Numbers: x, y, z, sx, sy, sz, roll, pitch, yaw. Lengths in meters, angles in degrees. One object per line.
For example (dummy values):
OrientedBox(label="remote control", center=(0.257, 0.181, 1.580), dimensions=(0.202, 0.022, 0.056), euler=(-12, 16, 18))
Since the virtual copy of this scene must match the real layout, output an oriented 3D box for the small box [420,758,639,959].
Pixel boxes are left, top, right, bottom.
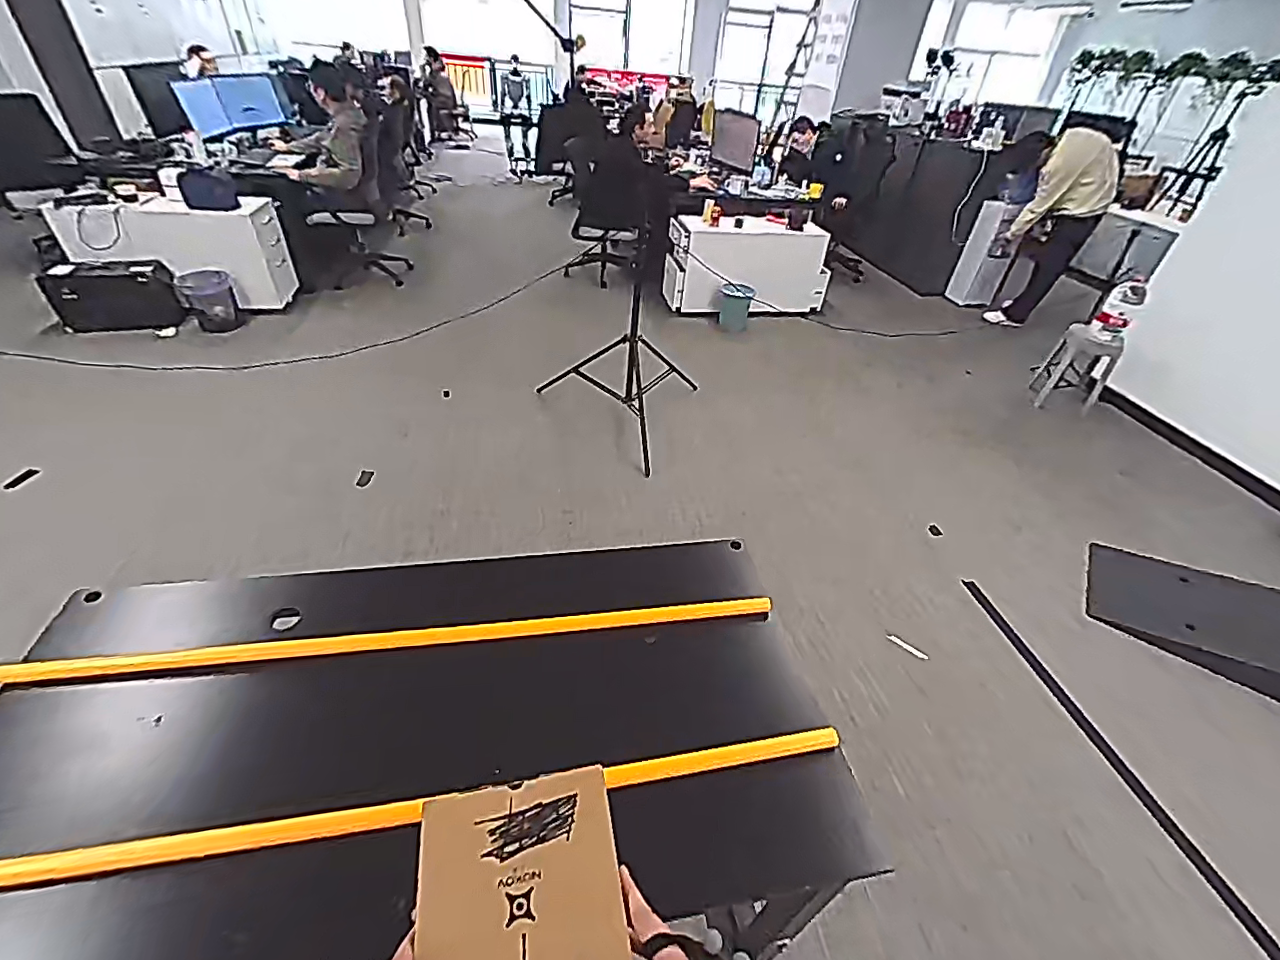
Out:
OrientedBox(label="small box", center=(-0.099, 0.396, 0.503), dimensions=(0.168, 0.176, 0.179), euler=(-7, 43, -11))
